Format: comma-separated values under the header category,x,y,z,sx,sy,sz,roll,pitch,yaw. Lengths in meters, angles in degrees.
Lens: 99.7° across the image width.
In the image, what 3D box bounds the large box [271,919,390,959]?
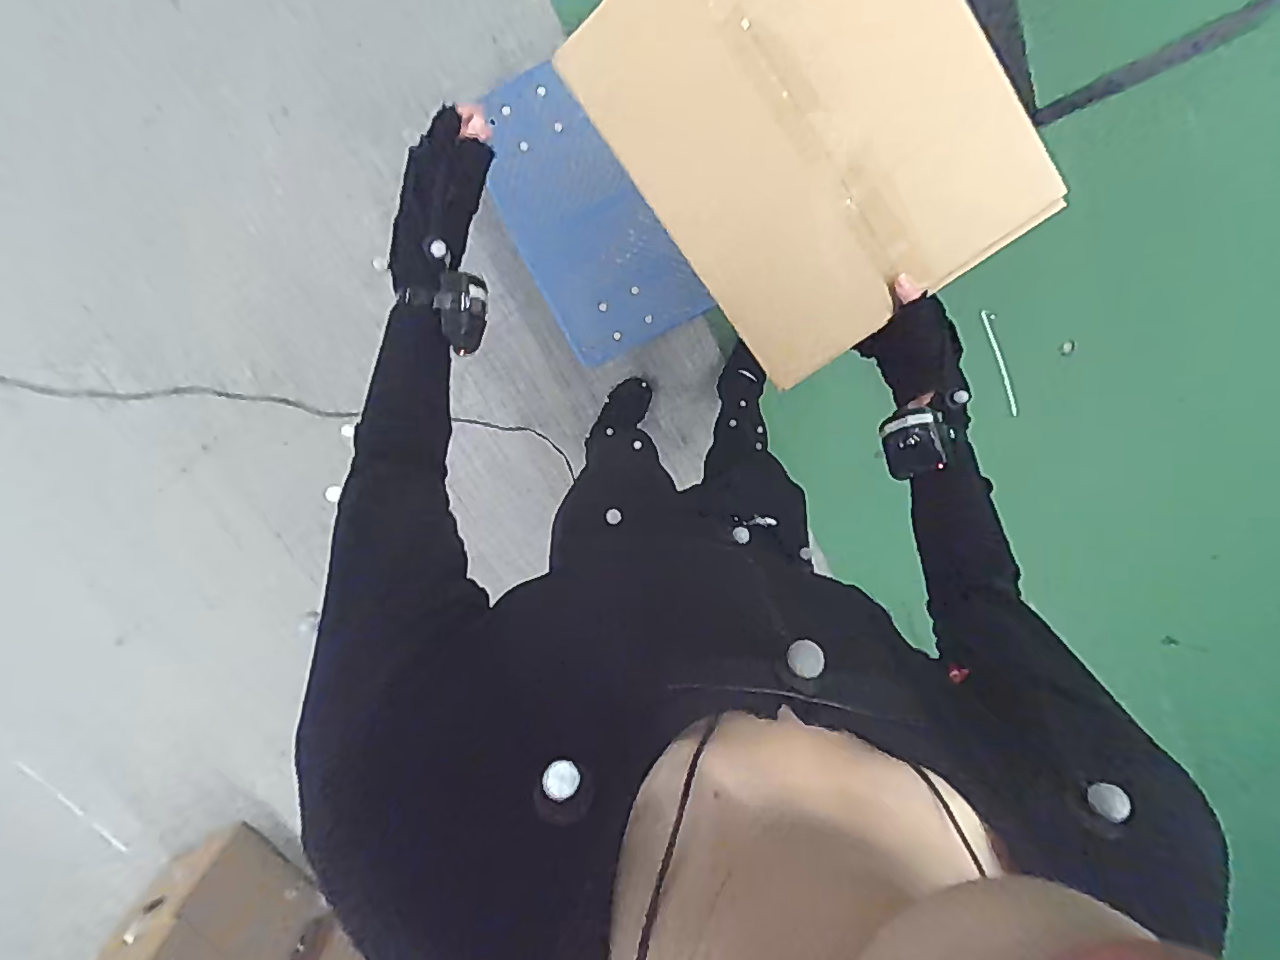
category,x,y,z,sx,sy,sz,roll,pitch,yaw
large box,-1.079,1.827,1.847,0.320,0.320,0.408,-28,107,6
